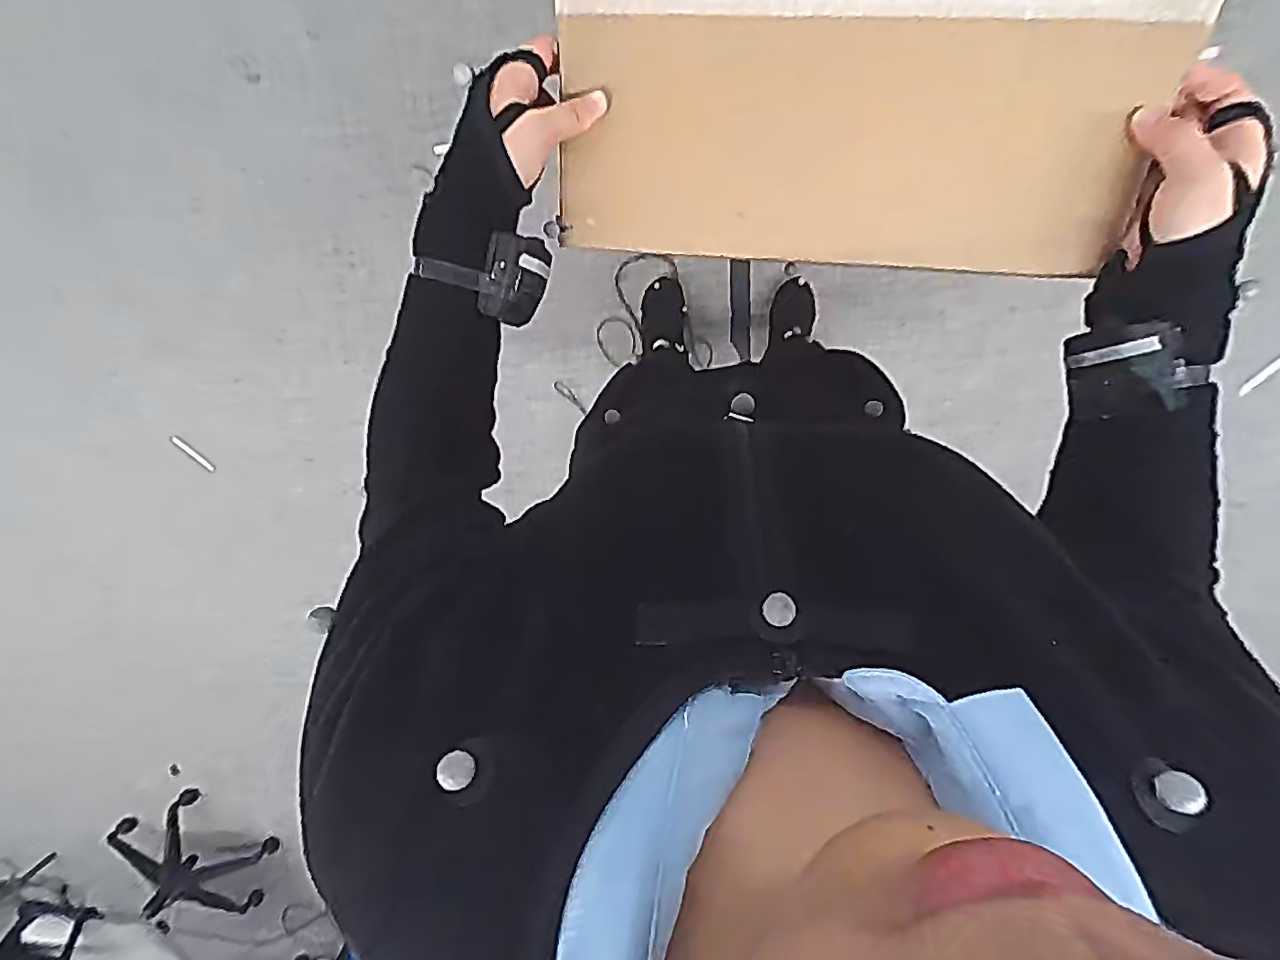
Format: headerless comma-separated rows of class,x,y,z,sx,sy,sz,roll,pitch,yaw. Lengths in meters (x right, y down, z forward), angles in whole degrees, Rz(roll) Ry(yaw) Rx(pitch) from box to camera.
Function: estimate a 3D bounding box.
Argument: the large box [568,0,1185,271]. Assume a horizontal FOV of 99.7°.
large box,0.167,-0.371,0.496,0.408,0.320,0.320,6,113,7
